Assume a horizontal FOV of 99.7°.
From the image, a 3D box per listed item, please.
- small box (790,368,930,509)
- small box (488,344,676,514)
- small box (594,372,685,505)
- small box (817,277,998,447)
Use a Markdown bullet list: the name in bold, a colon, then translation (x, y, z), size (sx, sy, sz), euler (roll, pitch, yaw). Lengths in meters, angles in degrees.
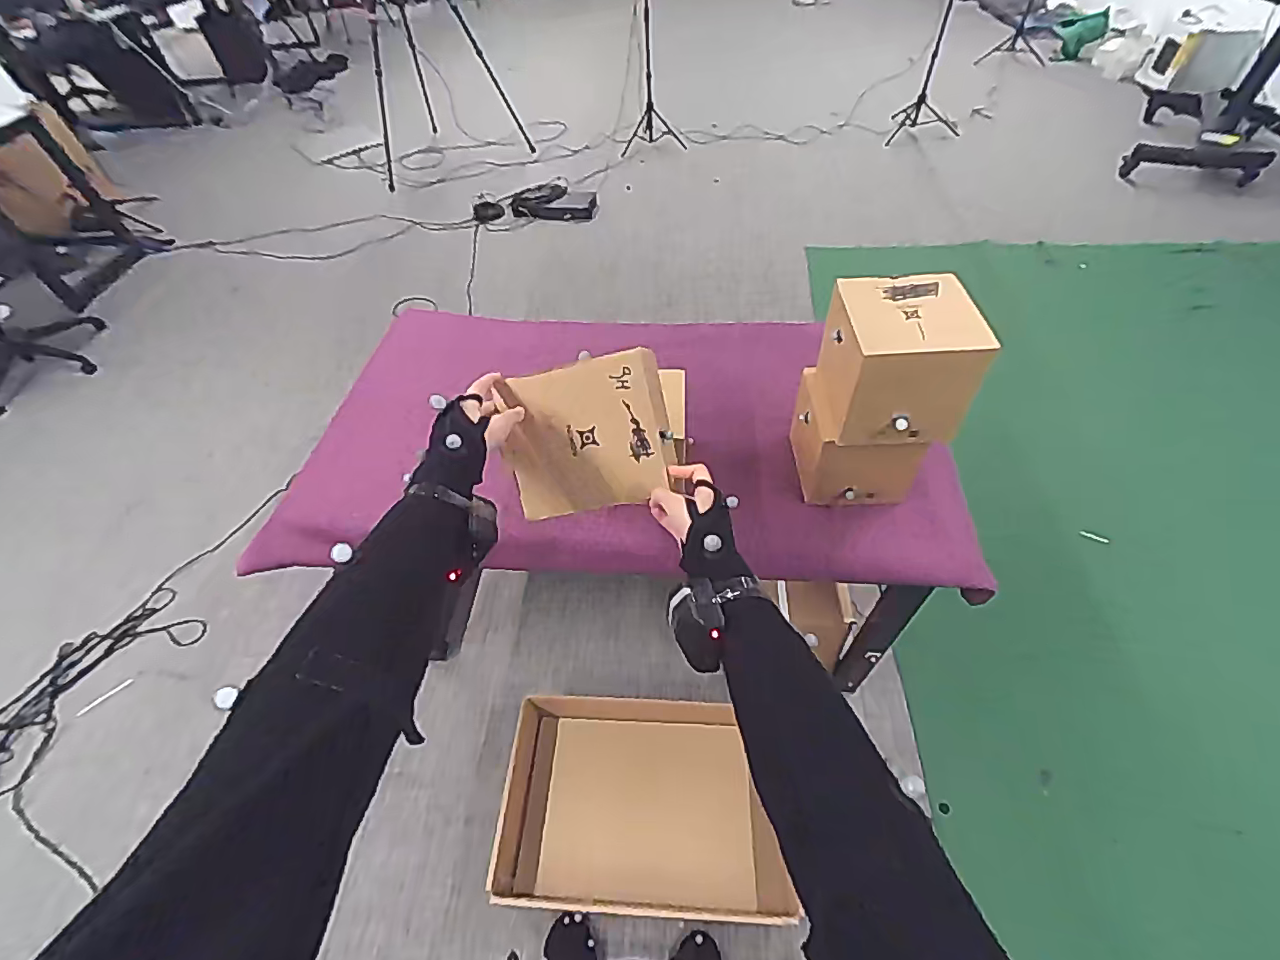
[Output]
- **small box**: translation (0.354, -0.071, 0.906), size (0.168, 0.176, 0.179), euler (-2, 50, 4)
- **small box**: translation (-0.059, -0.068, 0.675), size (0.179, 0.168, 0.176), euler (-10, 12, 10)
- **small box**: translation (-0.012, -0.069, 0.931), size (0.179, 0.176, 0.168), euler (0, 50, 5)
- **small box**: translation (0.359, -0.166, 0.770), size (0.168, 0.176, 0.179), euler (-2, 49, 5)
